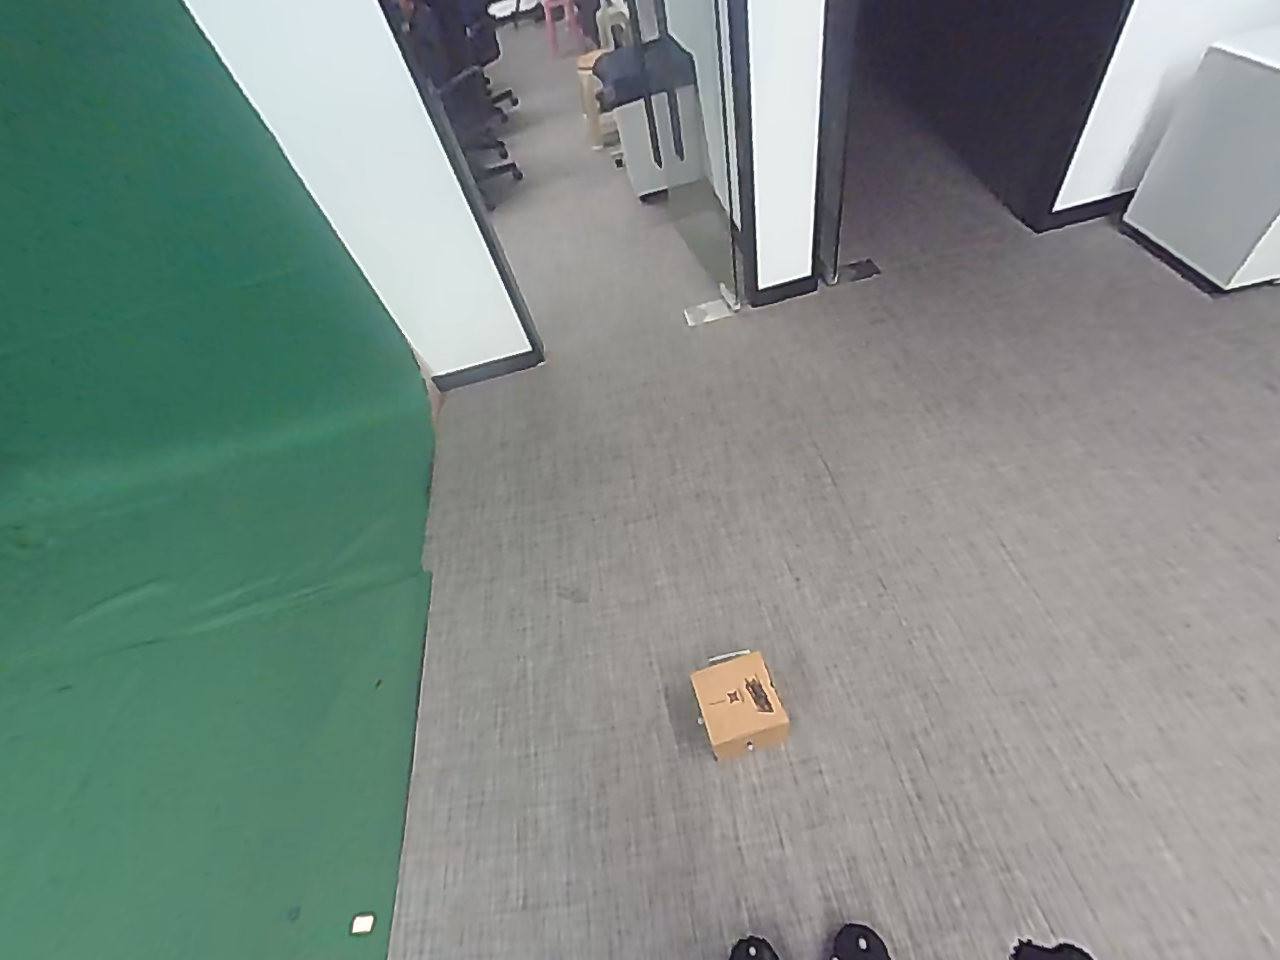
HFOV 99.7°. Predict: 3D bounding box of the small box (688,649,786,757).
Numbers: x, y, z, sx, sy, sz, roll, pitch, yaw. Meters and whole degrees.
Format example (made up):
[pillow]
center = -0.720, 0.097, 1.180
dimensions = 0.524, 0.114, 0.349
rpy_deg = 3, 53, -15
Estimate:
[small box]
center = 0.228, 0.530, 1.280
dimensions = 0.179, 0.176, 0.168
rpy_deg = -20, 51, -3
